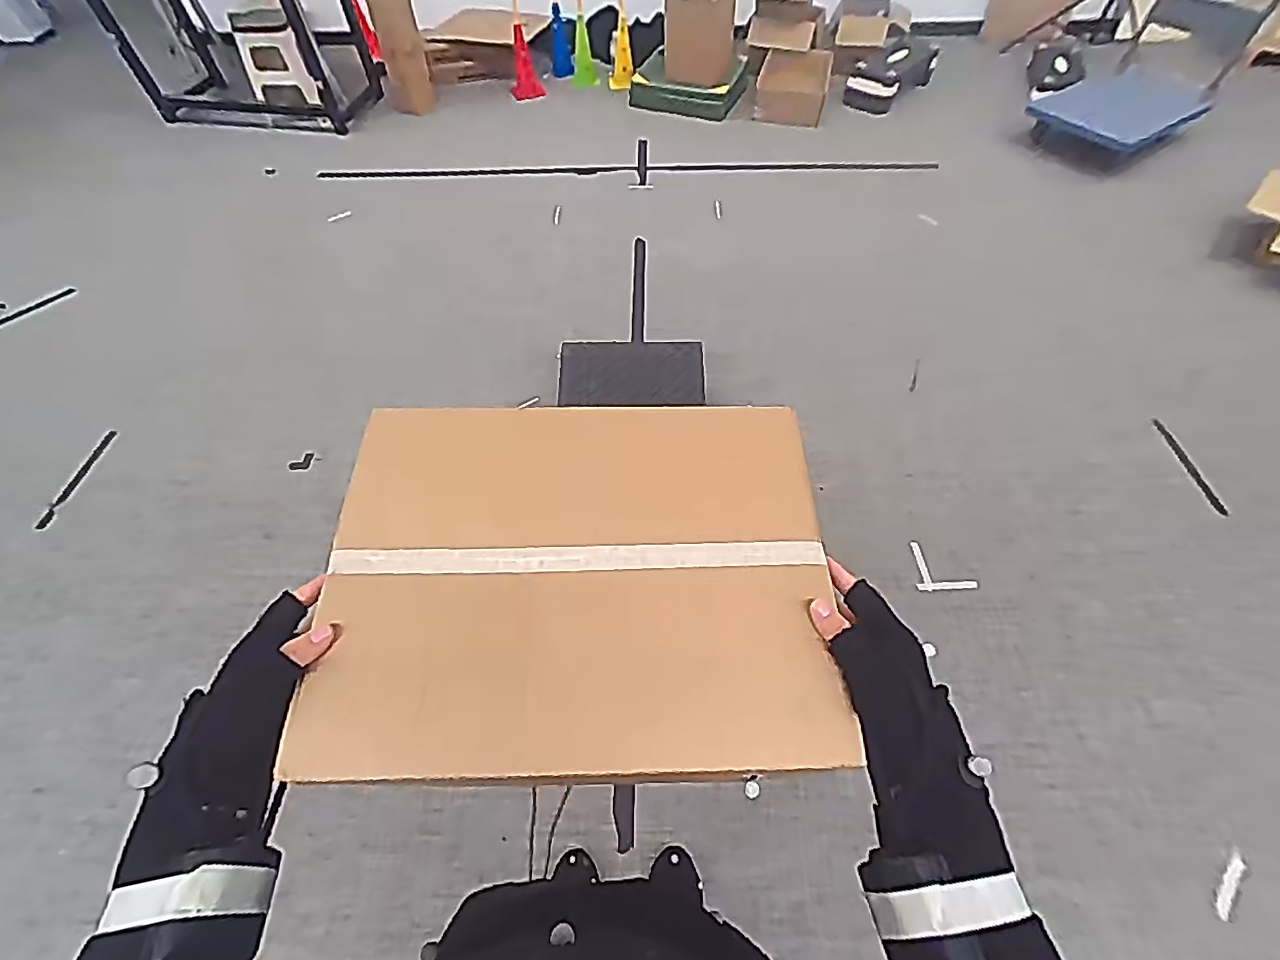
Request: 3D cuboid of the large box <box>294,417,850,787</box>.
[{"bbox_3d":[-0.052,0.146,0.584,0.408,0.320,0.320,0,60,-2],"label":"large box"}]
